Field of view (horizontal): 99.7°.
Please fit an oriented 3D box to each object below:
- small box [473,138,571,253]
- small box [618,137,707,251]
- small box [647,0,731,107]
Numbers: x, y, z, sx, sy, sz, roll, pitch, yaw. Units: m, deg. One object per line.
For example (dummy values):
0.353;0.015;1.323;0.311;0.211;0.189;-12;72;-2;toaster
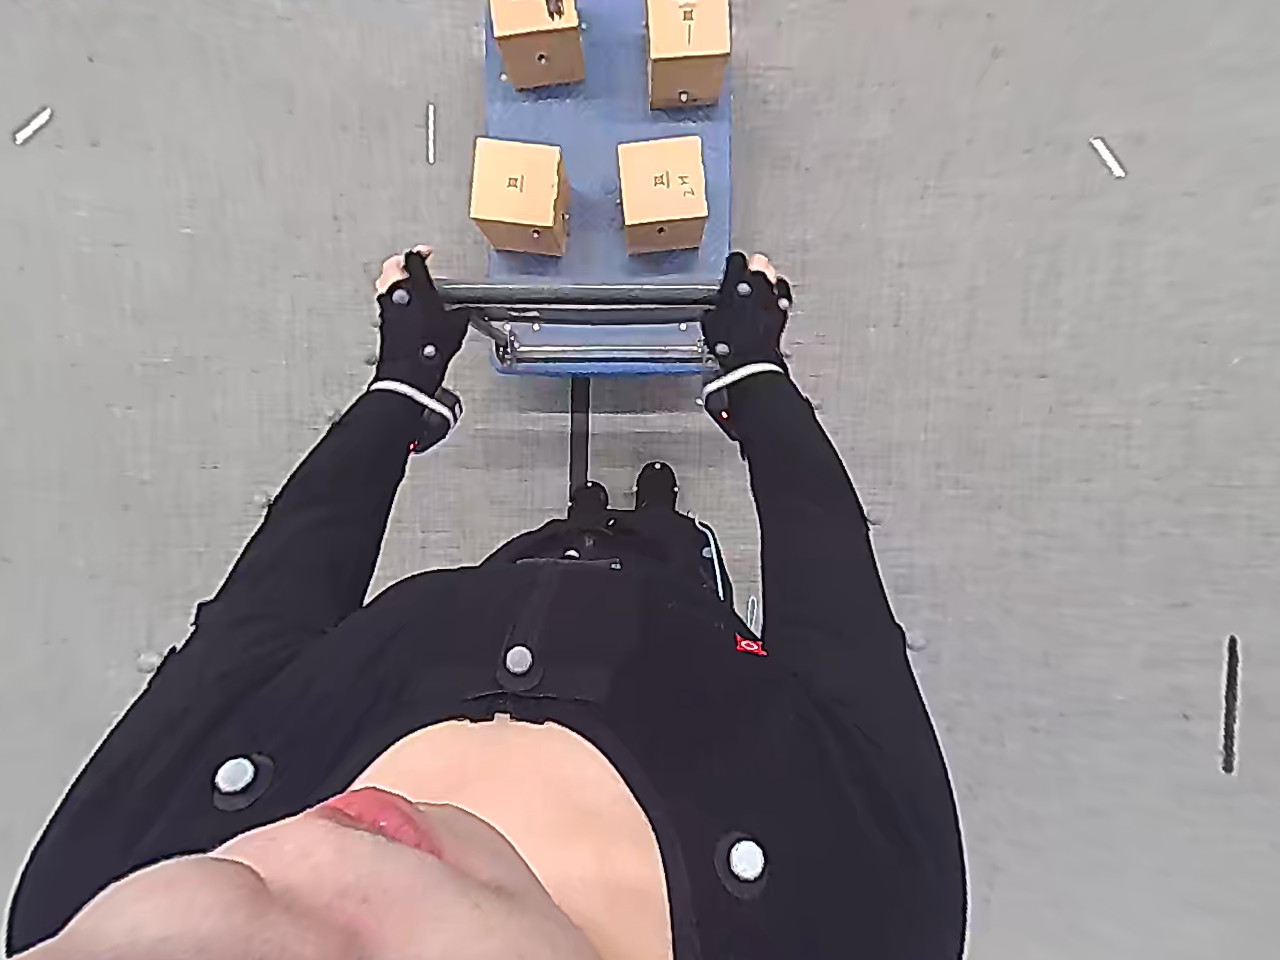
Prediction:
-0.256;-0.623;1.205;0.179;0.176;0.168;6;93;-2;small box
0.049;-0.625;1.202;0.179;0.176;0.168;-5;93;1;small box
0.101;-0.959;1.183;0.168;0.176;0.179;-3;94;1;small box
